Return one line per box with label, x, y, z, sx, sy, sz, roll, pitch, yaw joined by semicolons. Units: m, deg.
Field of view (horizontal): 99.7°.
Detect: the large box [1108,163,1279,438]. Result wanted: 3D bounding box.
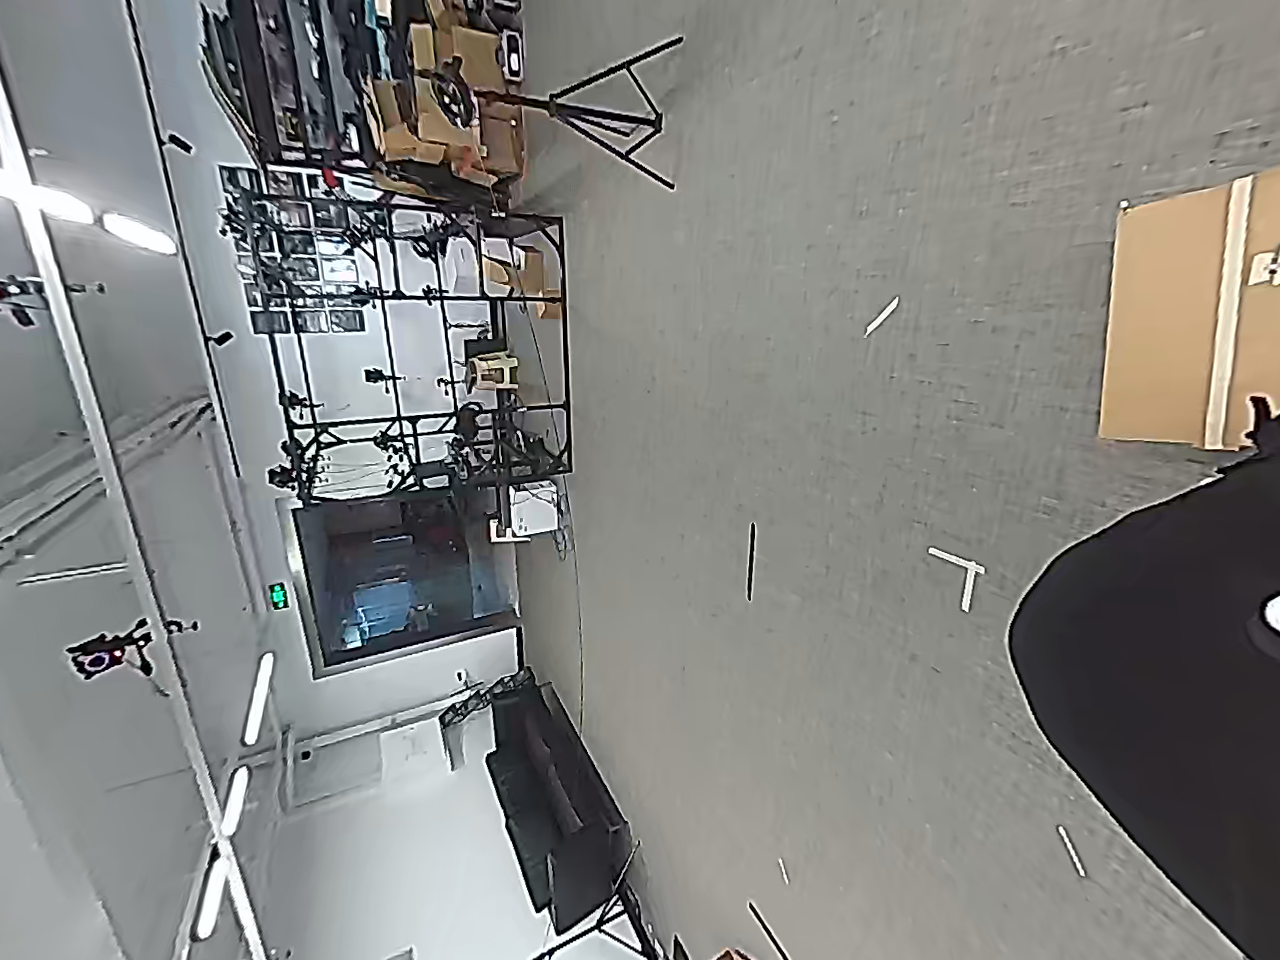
large box;1.055;-0.282;0.899;0.320;0.320;0.408;15;110;62
